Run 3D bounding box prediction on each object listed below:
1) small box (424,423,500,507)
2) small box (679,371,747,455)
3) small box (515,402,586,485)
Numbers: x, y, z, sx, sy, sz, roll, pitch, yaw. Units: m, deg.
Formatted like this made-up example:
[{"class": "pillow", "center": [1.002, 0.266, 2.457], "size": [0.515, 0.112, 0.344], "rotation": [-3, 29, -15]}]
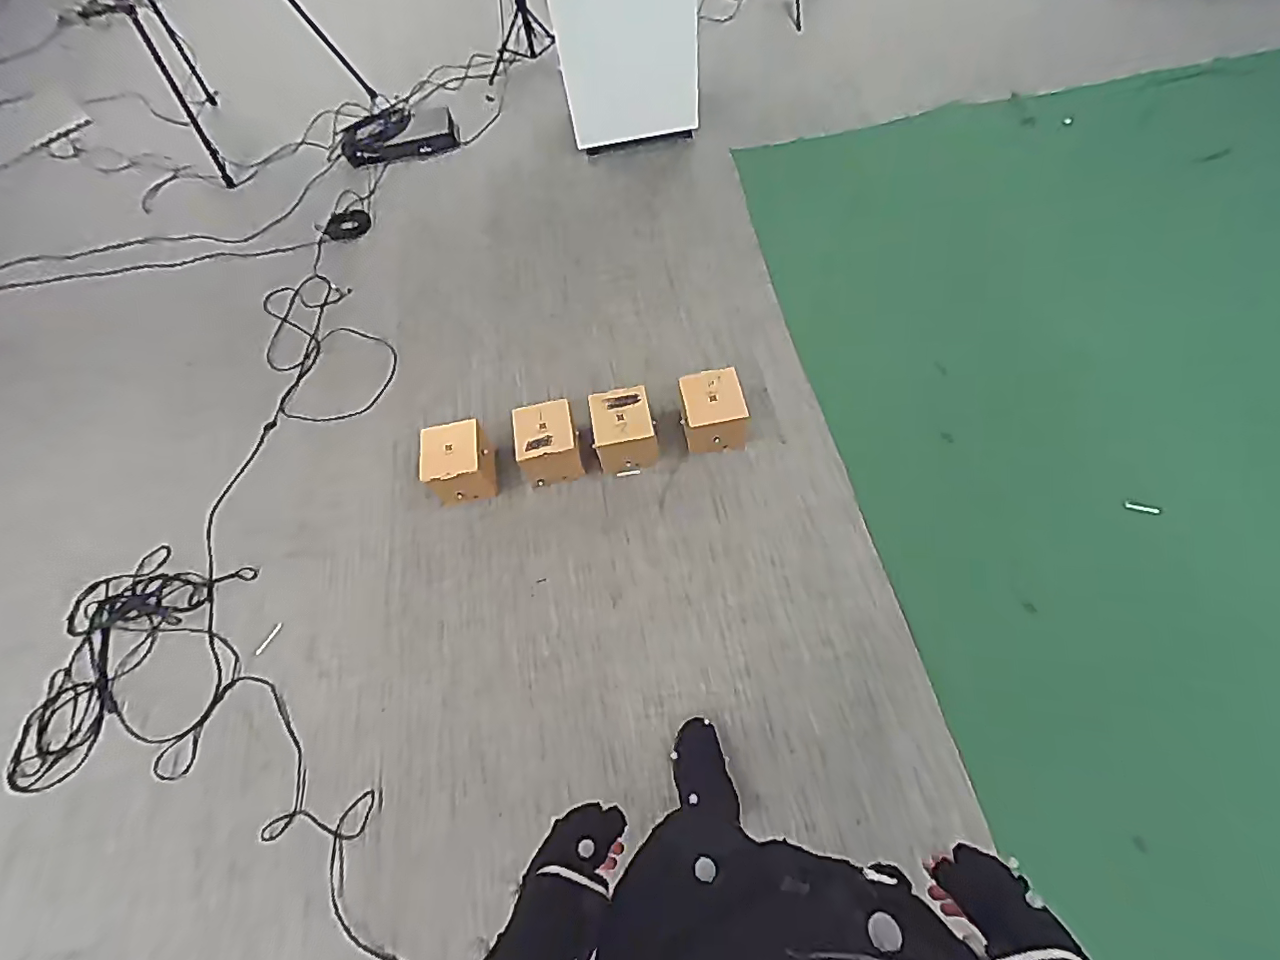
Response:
[{"class": "small box", "center": [-0.521, -0.042, 1.600], "size": [0.168, 0.176, 0.179], "rotation": [-11, 63, 1]}, {"class": "small box", "center": [0.212, -0.188, 1.587], "size": [0.168, 0.176, 0.179], "rotation": [-10, 63, 1]}, {"class": "small box", "center": [-0.261, -0.099, 1.595], "size": [0.168, 0.176, 0.179], "rotation": [-12, 61, 1]}]
